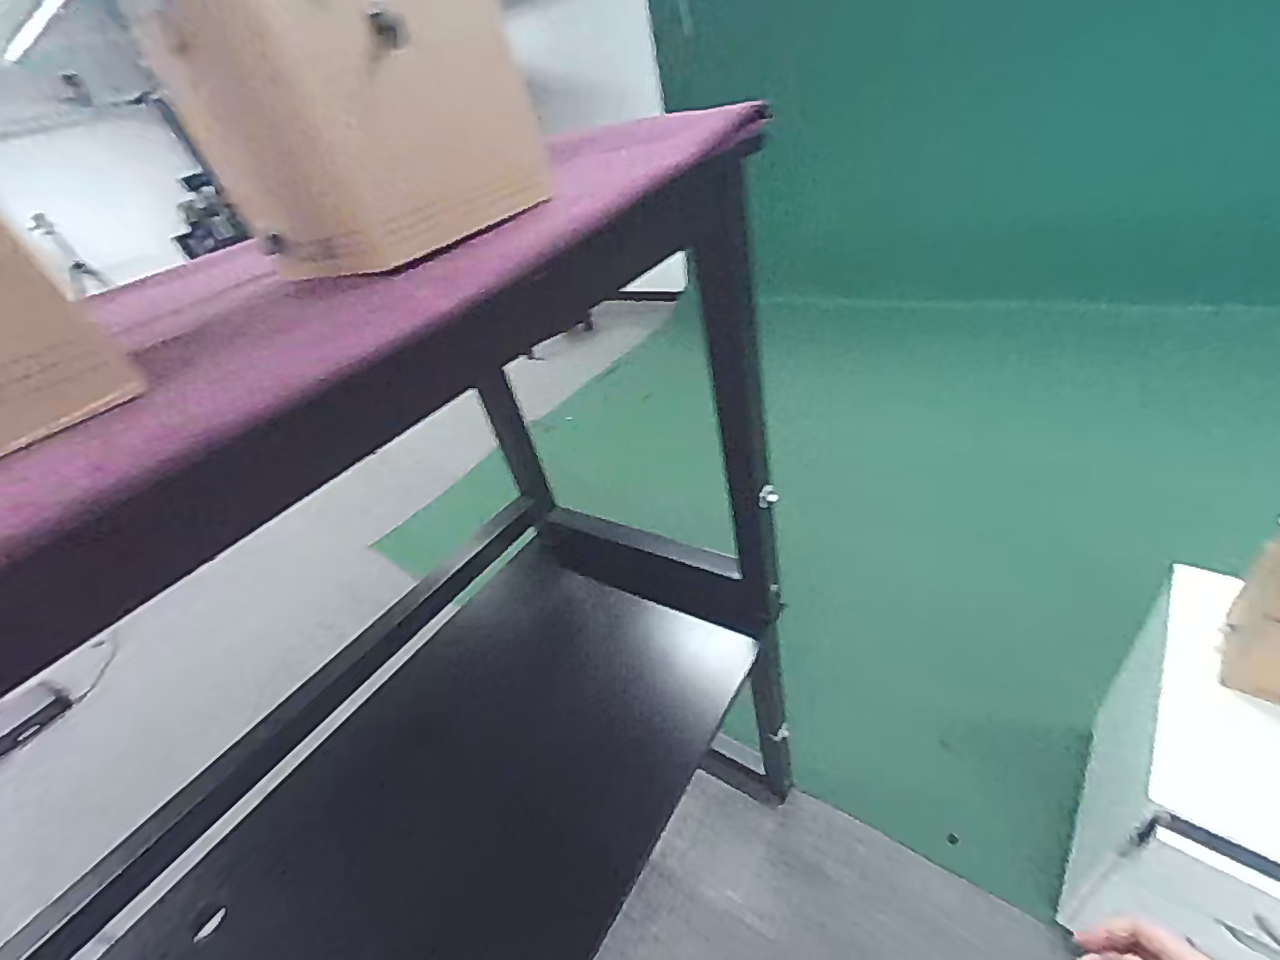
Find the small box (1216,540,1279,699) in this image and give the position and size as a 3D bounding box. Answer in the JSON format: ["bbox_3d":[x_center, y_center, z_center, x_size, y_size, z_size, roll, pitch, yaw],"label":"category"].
[{"bbox_3d":[0.998,0.226,0.795,0.168,0.176,0.179,19,48,37],"label":"small box"}]

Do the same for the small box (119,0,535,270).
[{"bbox_3d":[-0.208,-0.265,0.399,0.168,0.176,0.179,11,43,35],"label":"small box"}]

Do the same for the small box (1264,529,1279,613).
[{"bbox_3d":[0.965,0.101,0.696,0.179,0.176,0.168,21,49,38],"label":"small box"}]
